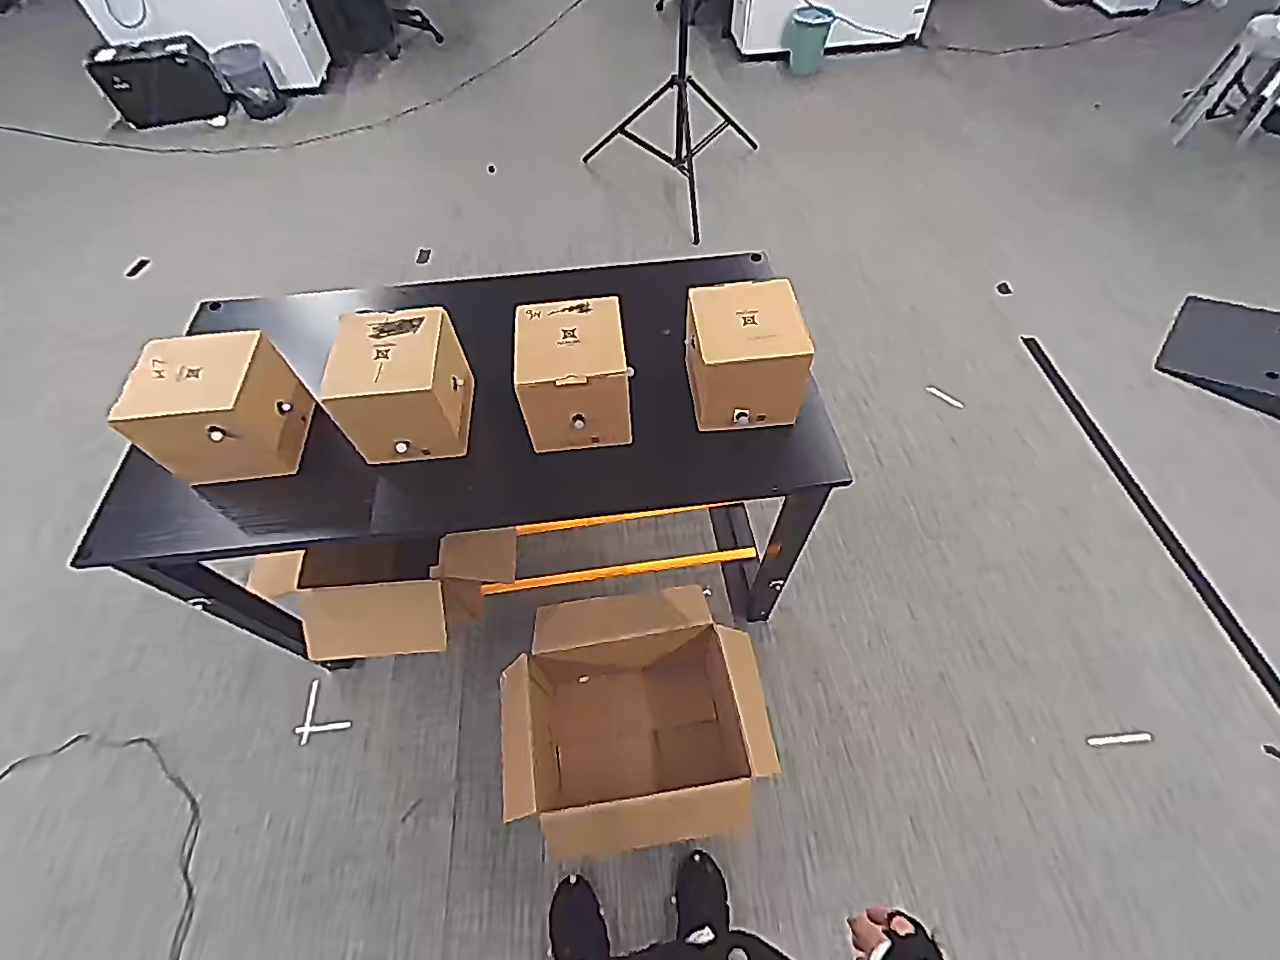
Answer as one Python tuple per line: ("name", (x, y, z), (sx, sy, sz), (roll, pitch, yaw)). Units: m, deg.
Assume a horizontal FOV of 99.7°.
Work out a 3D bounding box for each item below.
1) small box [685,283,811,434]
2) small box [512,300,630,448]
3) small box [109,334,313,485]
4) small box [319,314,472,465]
("small box", (0.167, -0.199, 0.903), (0.168, 0.176, 0.179), (-6, 57, 0))
("small box", (-0.108, -0.165, 0.891), (0.168, 0.176, 0.179), (-6, 57, -2))
("small box", (-0.666, -0.109, 0.870), (0.179, 0.176, 0.168), (-7, 57, -3))
("small box", (-0.384, -0.145, 0.887), (0.168, 0.176, 0.179), (-6, 58, -1))
